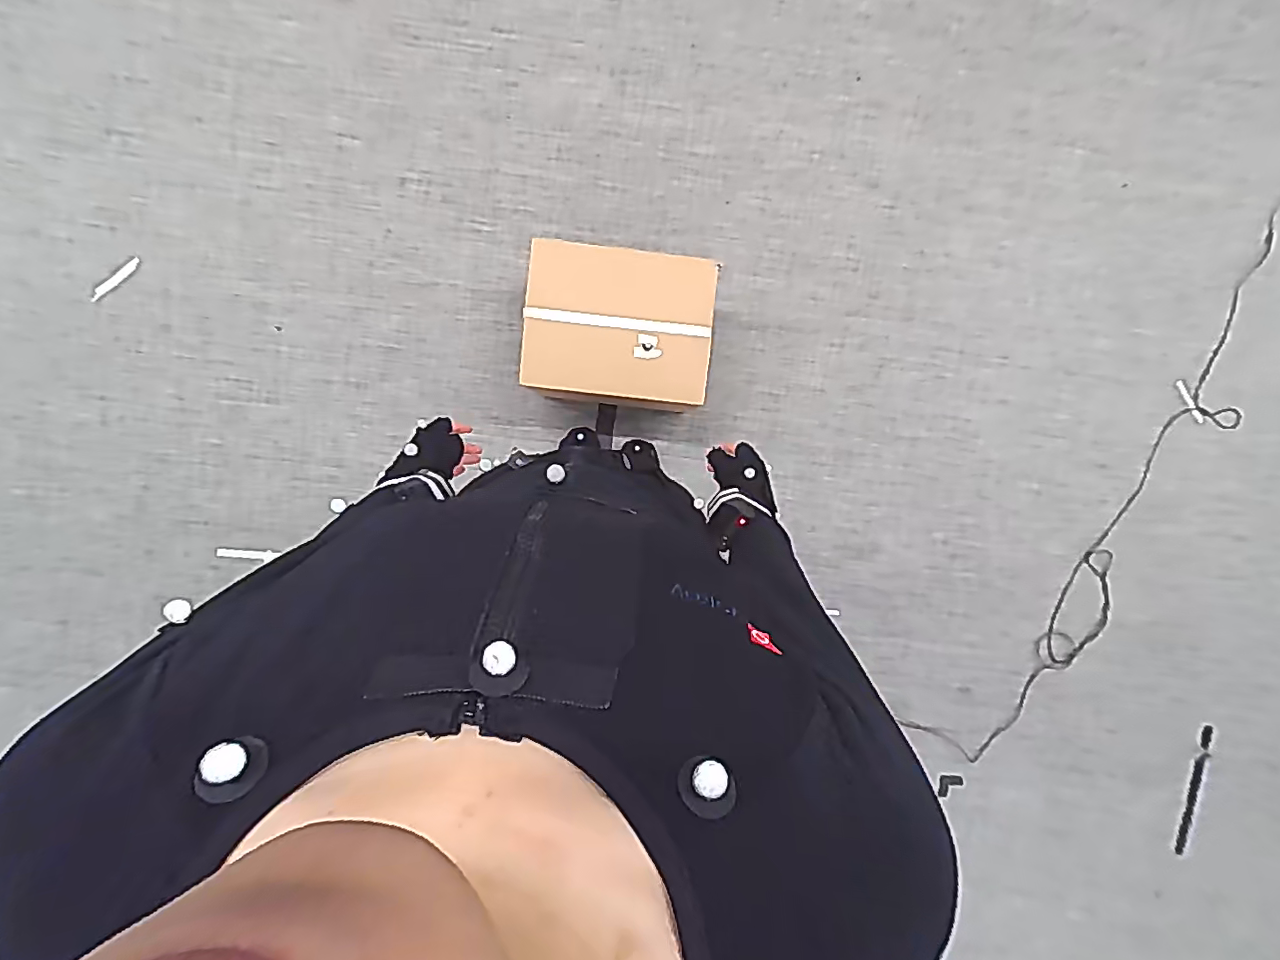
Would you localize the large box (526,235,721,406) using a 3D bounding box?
[{"bbox_3d":[-0.045,-0.359,1.305,0.408,0.320,0.320,6,95,-3],"label":"large box"}]
